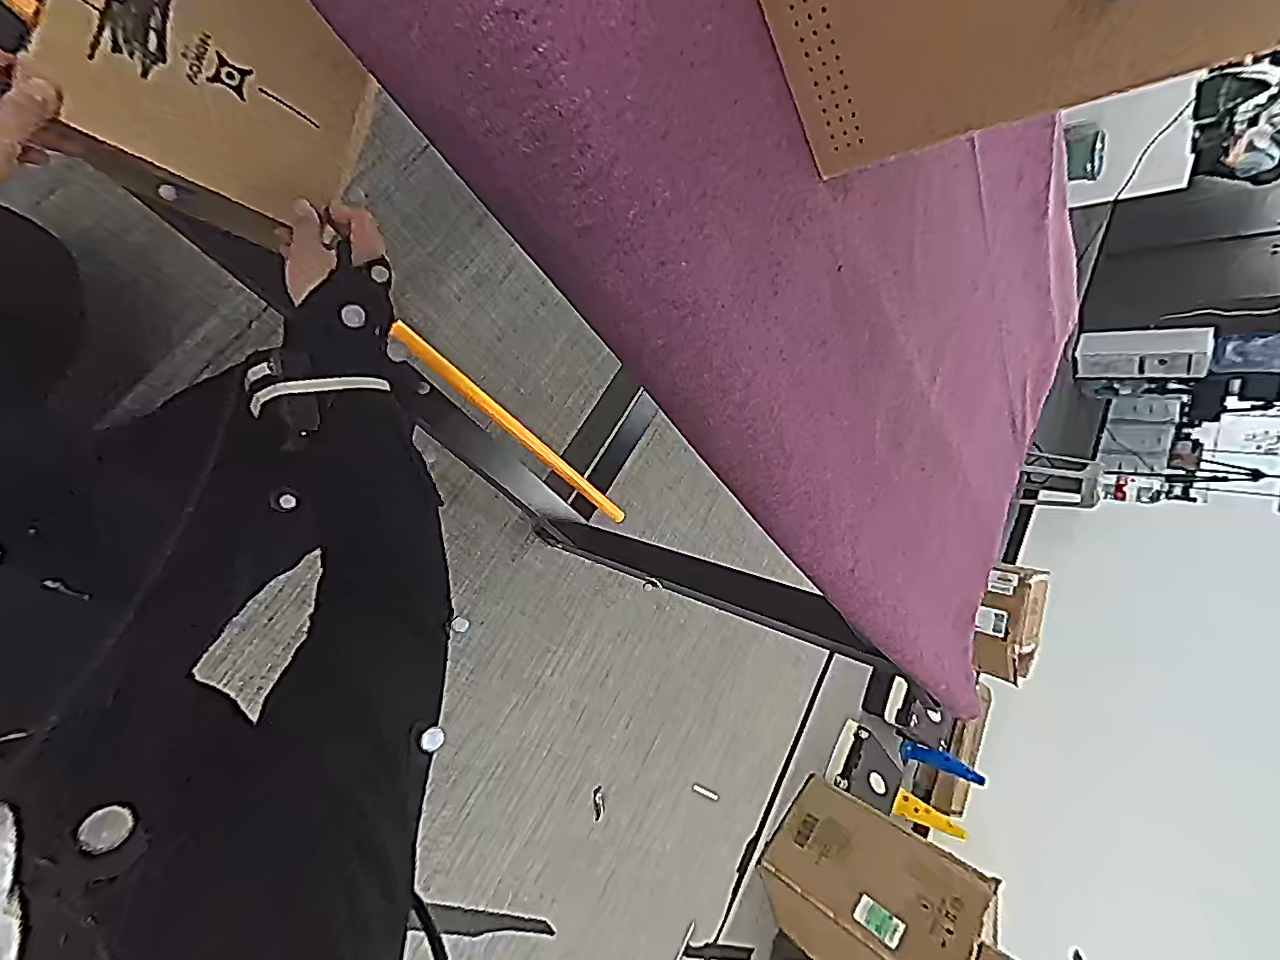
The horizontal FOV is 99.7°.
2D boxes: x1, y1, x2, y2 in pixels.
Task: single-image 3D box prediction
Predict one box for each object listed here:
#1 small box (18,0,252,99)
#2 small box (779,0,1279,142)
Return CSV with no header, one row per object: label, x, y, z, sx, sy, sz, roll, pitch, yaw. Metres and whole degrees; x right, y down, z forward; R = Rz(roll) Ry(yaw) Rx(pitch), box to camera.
small box,-0.516,-0.523,0.537,0.179,0.176,0.168,38,72,-41
small box,0.155,-0.269,0.212,0.179,0.176,0.168,48,64,-39
